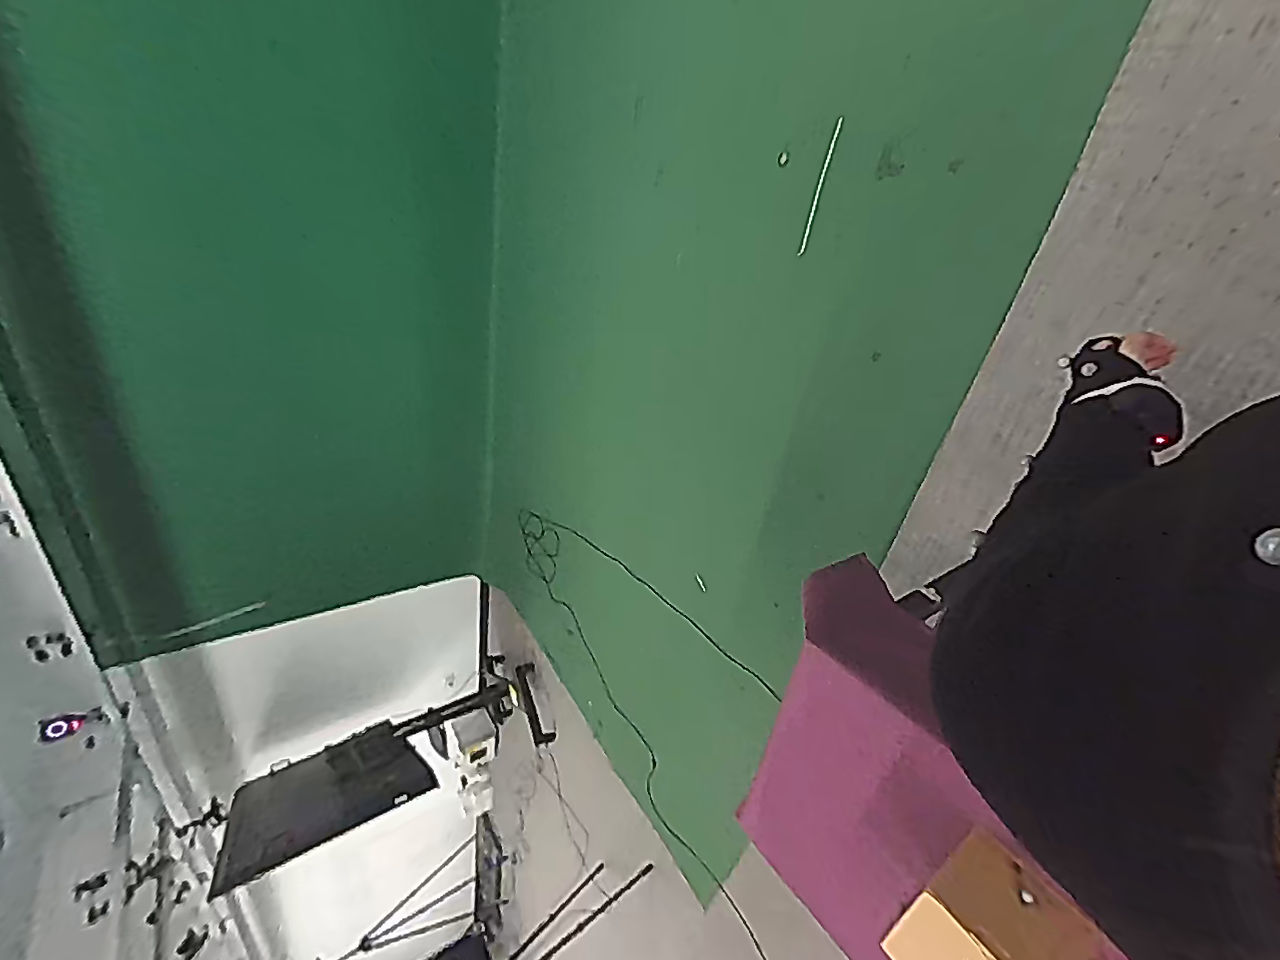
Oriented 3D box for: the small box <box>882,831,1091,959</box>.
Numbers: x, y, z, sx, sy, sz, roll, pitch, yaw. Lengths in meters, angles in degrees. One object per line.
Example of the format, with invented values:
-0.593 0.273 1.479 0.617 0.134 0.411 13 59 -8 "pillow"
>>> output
0.489 0.654 0.767 0.168 0.176 0.179 39 129 41 "small box"
